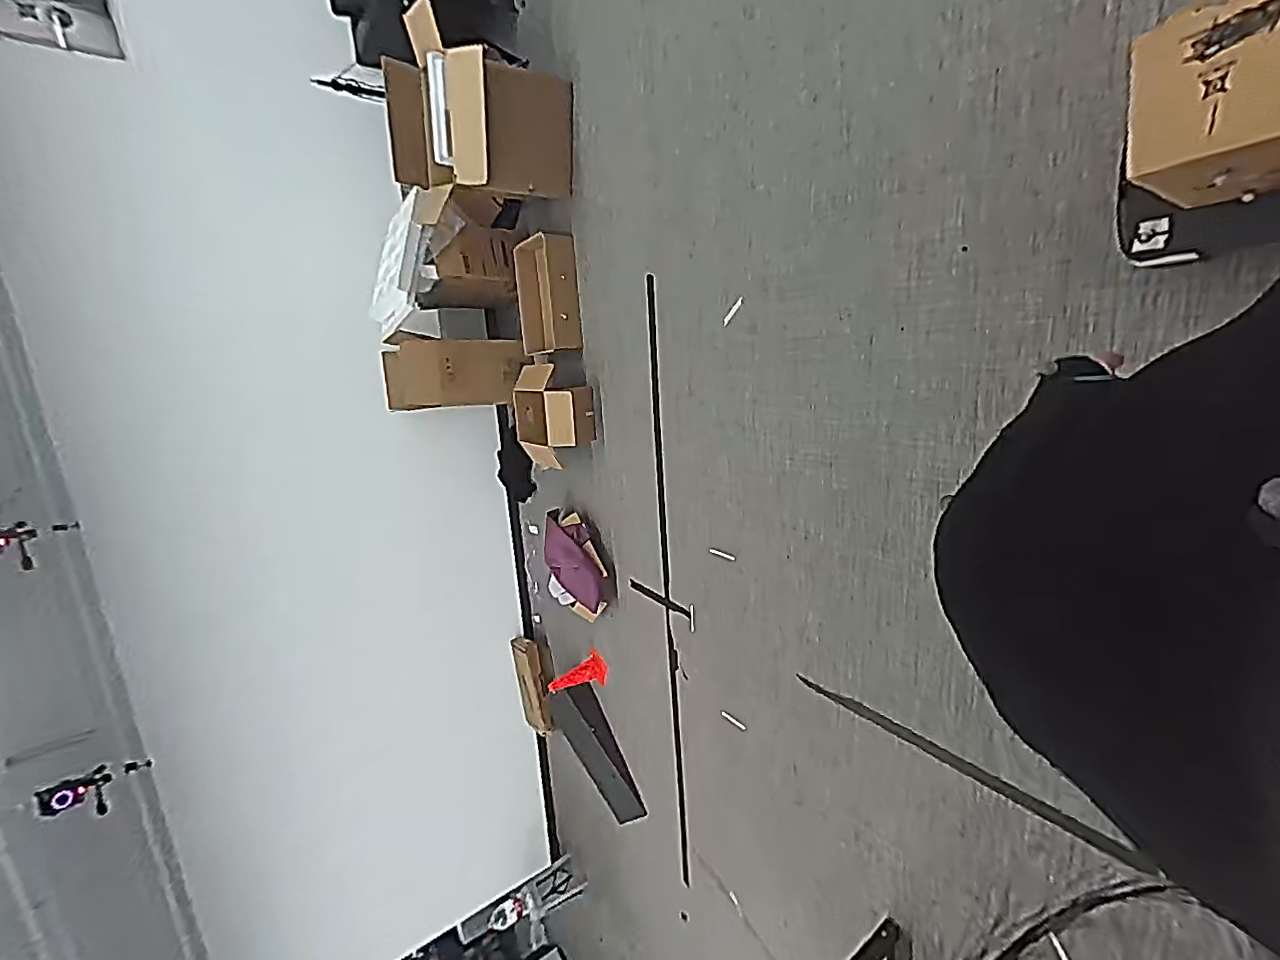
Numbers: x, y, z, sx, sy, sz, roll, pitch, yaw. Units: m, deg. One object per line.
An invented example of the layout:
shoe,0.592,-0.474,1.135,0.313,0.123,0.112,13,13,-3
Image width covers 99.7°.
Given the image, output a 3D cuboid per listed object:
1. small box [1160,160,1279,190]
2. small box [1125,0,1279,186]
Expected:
small box,0.898,-0.529,0.786,0.168,0.176,0.179,12,110,54
small box,0.763,-0.506,0.697,0.168,0.176,0.179,9,108,55
